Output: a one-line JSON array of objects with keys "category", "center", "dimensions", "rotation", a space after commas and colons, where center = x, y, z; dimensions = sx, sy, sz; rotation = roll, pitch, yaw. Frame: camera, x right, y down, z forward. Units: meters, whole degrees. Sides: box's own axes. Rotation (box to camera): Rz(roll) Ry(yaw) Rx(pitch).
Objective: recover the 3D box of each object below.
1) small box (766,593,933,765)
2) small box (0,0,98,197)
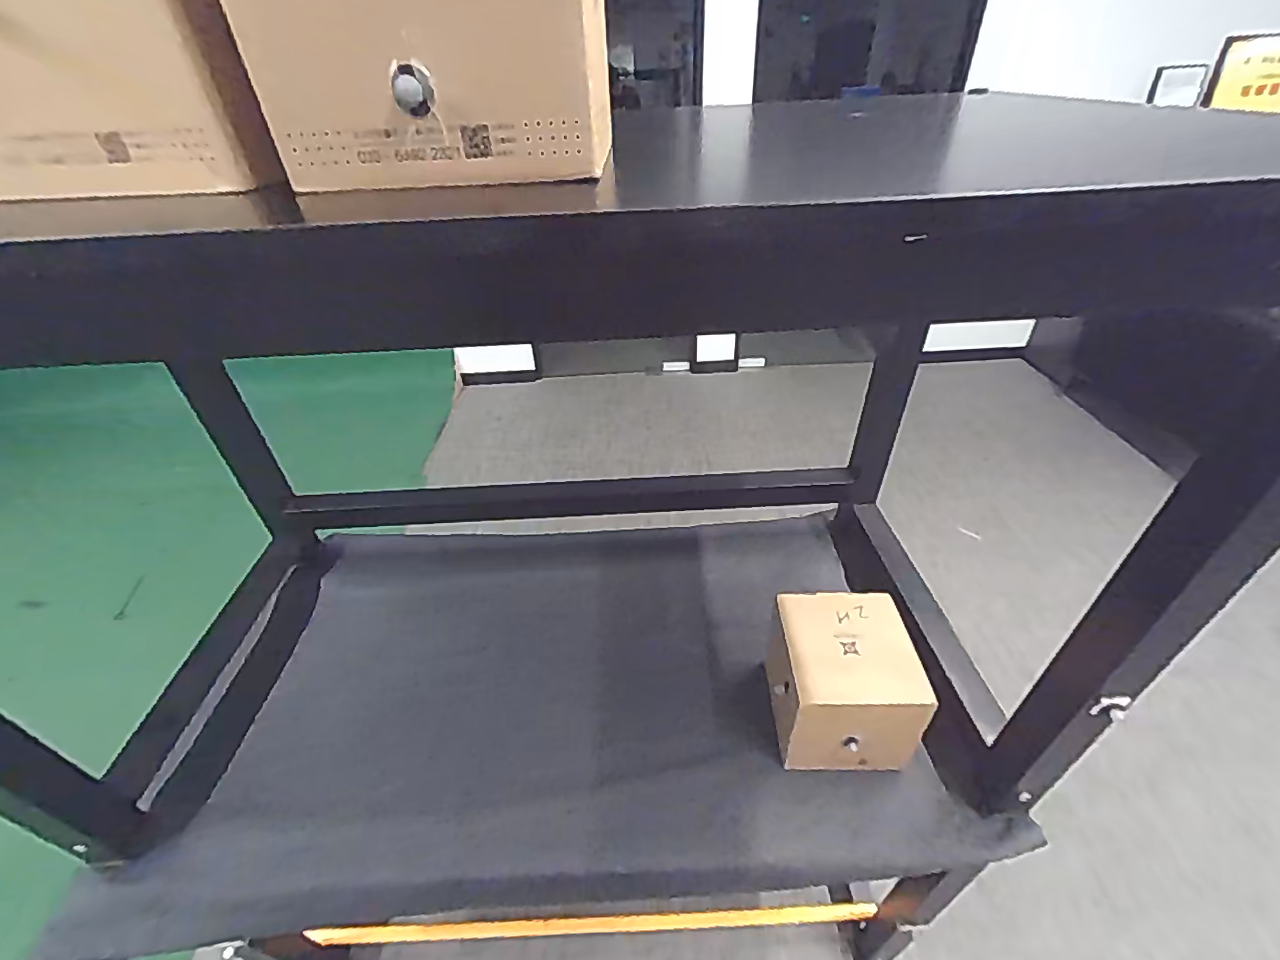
[{"category": "small box", "center": [0.279, 0.281, 0.766], "dimensions": [0.168, 0.176, 0.179], "rotation": [0, 37, 2]}, {"category": "small box", "center": [-0.495, -0.258, 0.320], "dimensions": [0.168, 0.176, 0.179], "rotation": [-2, 39, 1]}]
